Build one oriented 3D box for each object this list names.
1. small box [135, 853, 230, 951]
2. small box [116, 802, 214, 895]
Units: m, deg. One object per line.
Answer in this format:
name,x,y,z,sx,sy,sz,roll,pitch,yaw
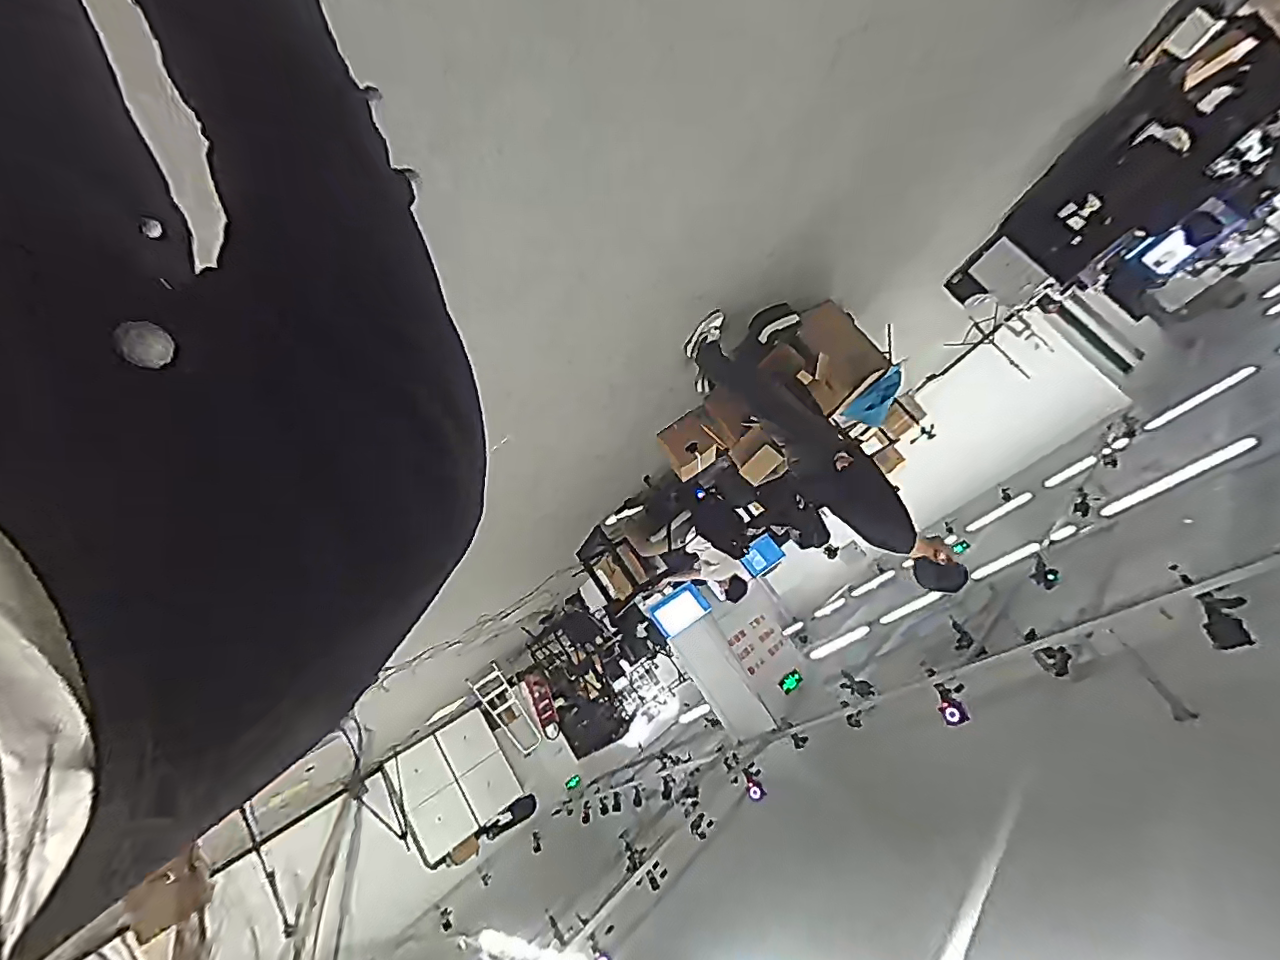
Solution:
small box,-1.370,1.258,1.624,0.168,0.176,0.179,-25,160,-40
small box,-1.459,1.131,1.666,0.179,0.176,0.168,-23,159,-38
